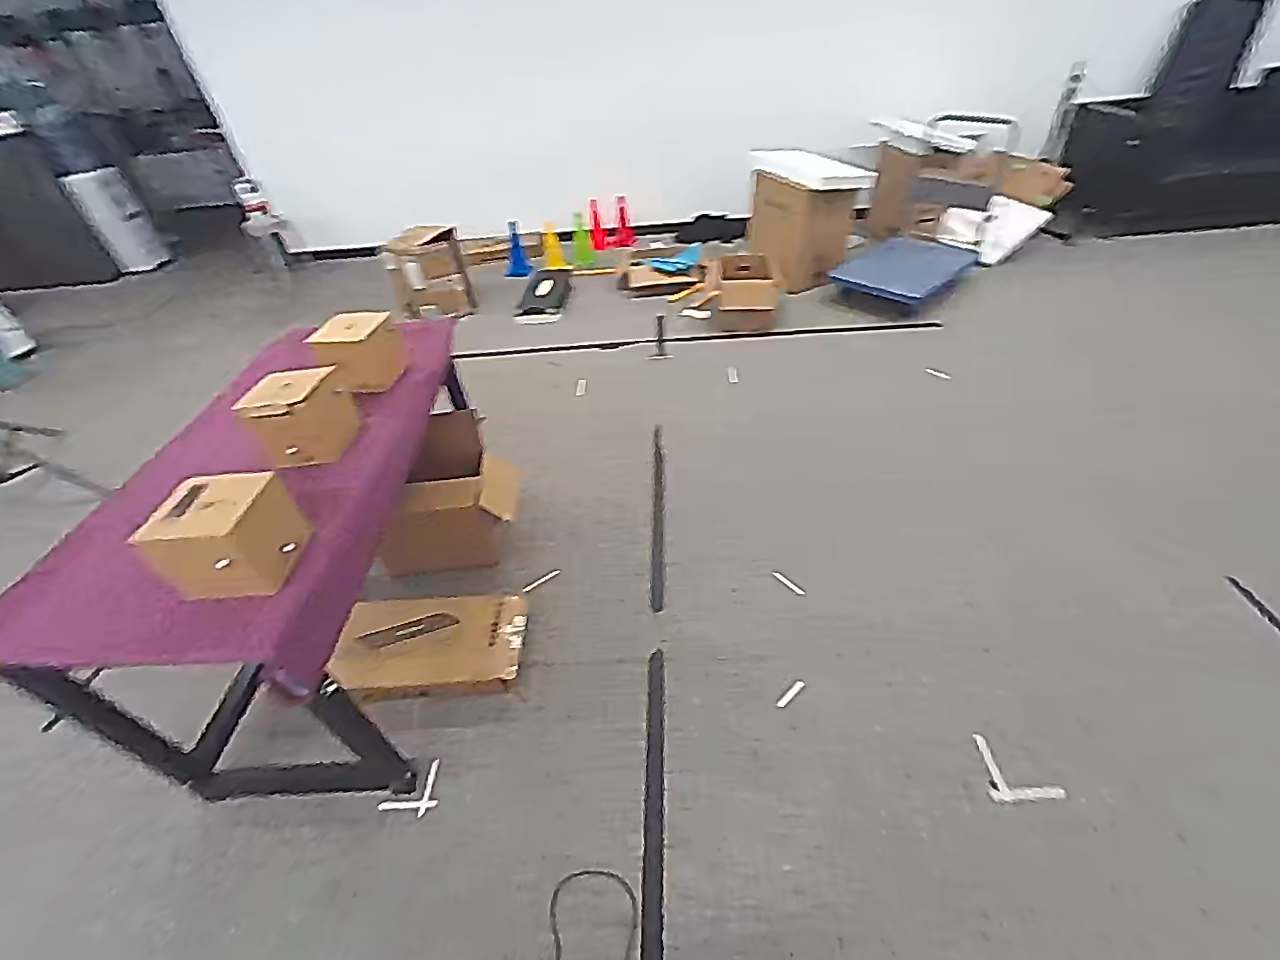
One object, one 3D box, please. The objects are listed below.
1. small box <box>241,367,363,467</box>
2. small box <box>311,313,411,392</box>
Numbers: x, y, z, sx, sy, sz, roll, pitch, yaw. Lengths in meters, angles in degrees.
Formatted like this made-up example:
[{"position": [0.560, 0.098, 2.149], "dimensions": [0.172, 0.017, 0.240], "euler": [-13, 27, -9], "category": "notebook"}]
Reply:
[{"position": [-0.812, -0.154, 1.325], "dimensions": [0.168, 0.176, 0.179], "euler": [-6, 41, 4], "category": "small box"}, {"position": [-0.793, -0.366, 1.562], "dimensions": [0.168, 0.176, 0.179], "euler": [1, 42, 8], "category": "small box"}]
